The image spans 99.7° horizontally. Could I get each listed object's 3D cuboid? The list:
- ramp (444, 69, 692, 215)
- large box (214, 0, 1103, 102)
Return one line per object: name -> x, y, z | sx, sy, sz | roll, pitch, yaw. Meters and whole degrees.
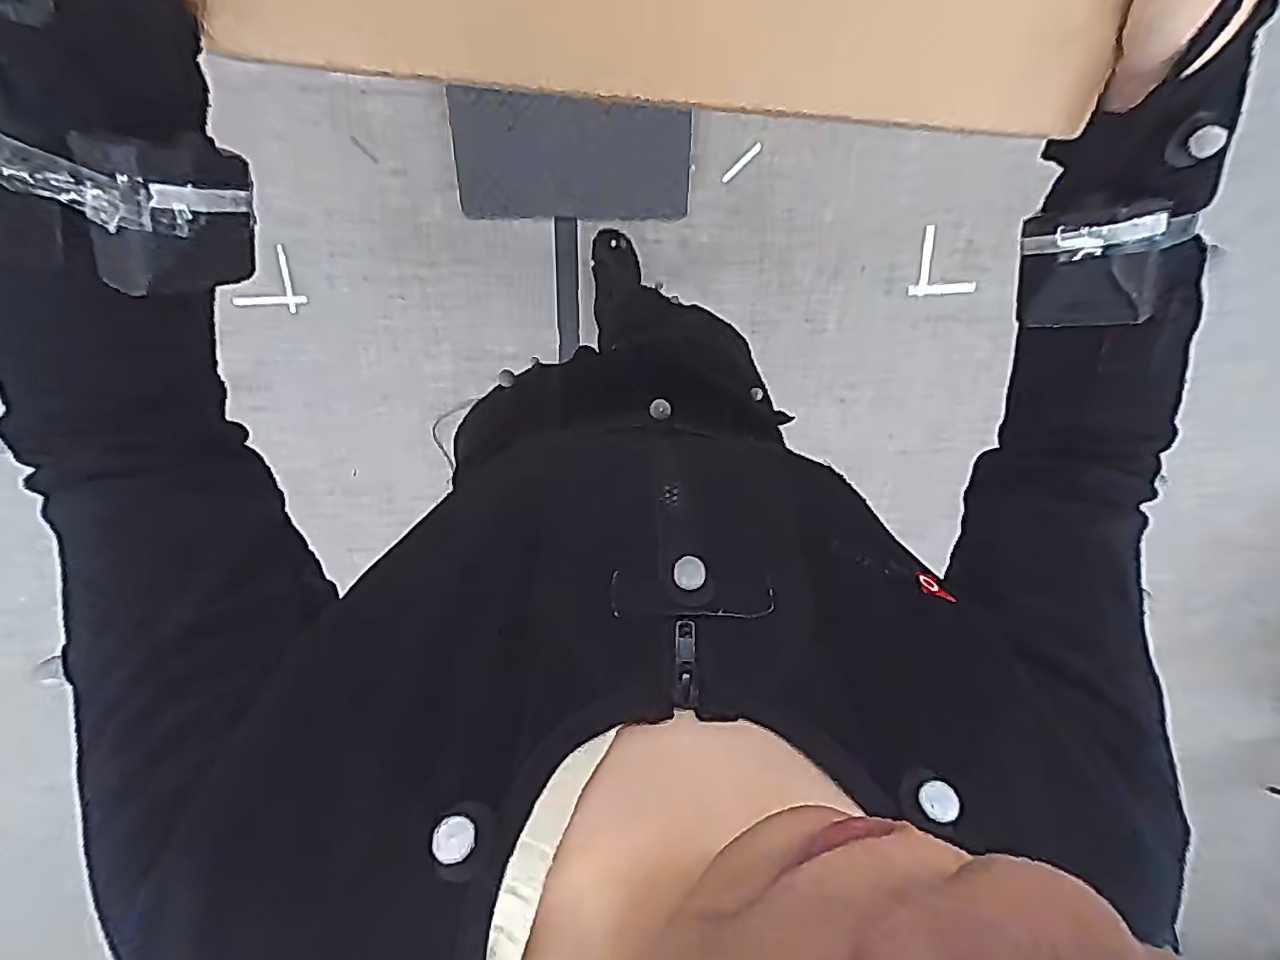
ramp -> -0.128, -1.015, 0.937 | 0.509, 0.206, 0.991 | -4, 111, -6
large box -> 0.011, -0.401, 0.283 | 0.408, 0.320, 0.320 | 0, 127, -8
